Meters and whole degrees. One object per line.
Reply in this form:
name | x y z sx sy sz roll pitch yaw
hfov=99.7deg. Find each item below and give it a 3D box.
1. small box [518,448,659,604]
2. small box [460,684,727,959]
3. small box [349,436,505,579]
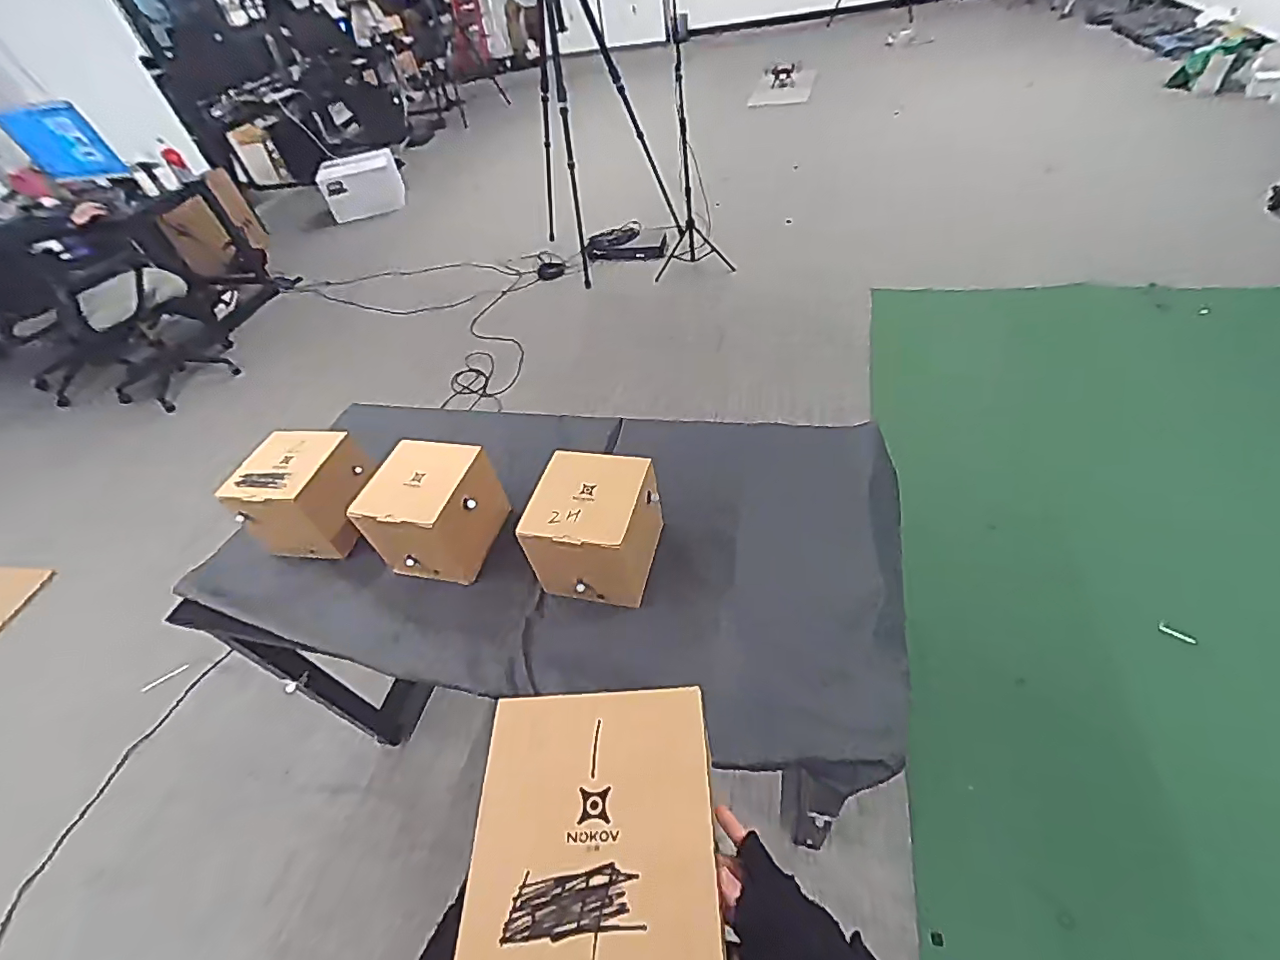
small box | -0.069 0.073 0.872 0.168 0.176 0.179 6 49 16
small box | -0.020 0.283 0.434 0.168 0.176 0.179 -5 48 5
small box | -0.356 0.048 0.948 0.168 0.176 0.179 6 50 15
